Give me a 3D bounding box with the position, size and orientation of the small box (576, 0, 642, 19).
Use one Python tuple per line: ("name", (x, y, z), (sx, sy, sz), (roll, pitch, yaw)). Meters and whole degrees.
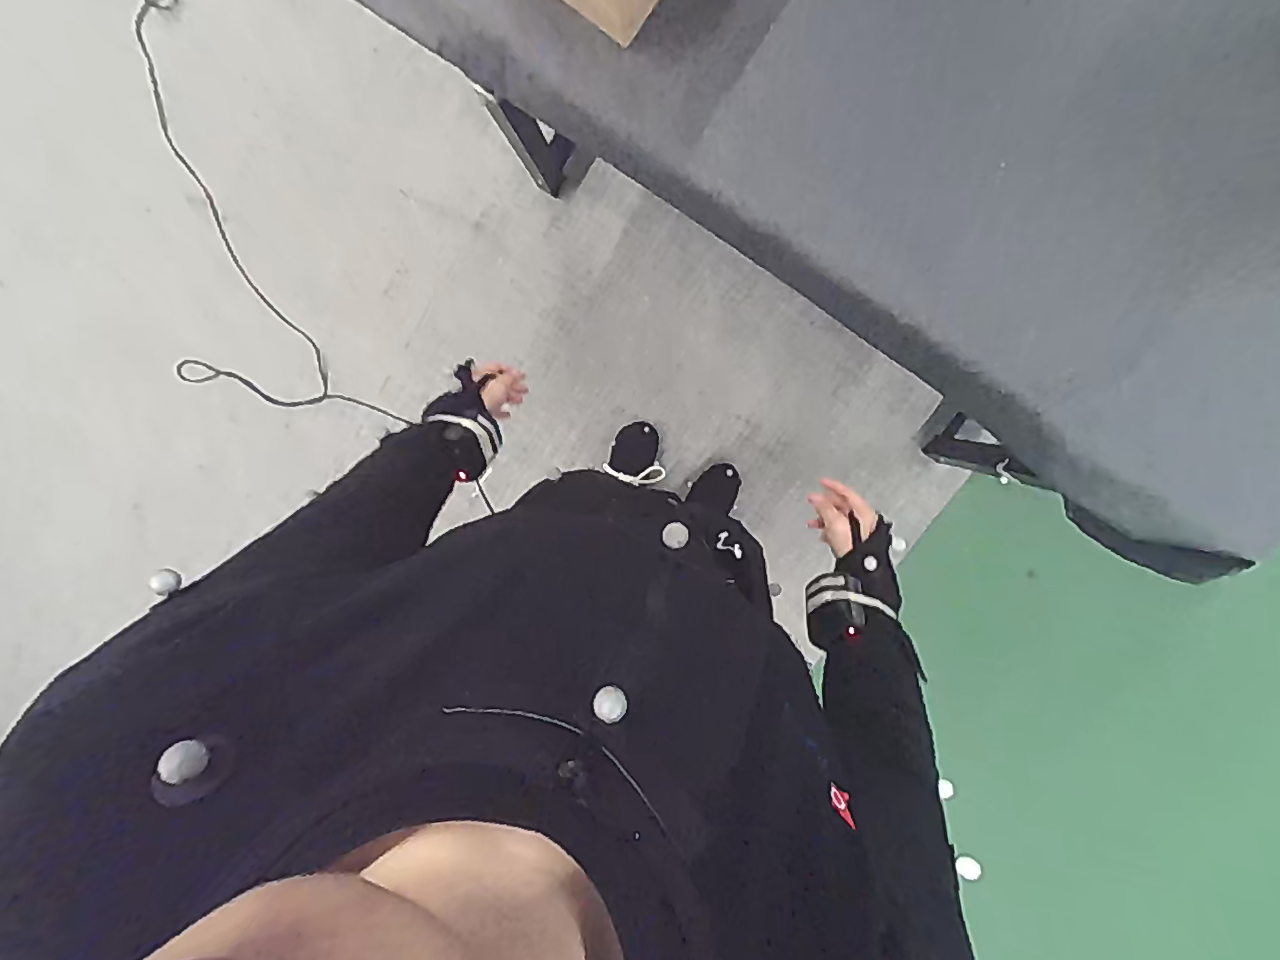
("small box", (-0.039, -0.550, 0.453), (0.179, 0.176, 0.168), (36, 97, -4))
